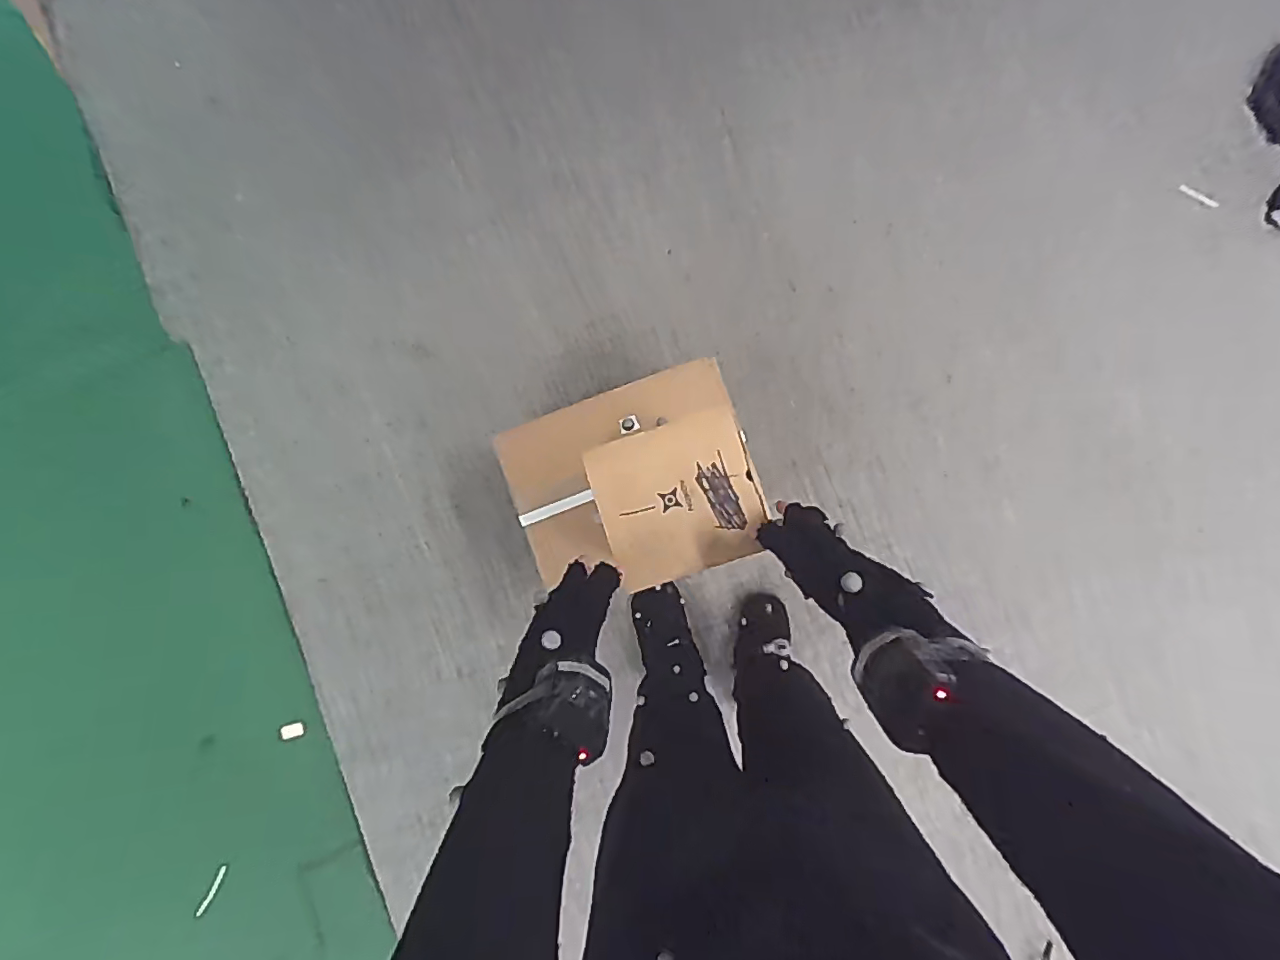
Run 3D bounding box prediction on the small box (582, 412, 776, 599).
[{"bbox_3d":[0.042,0.028,0.667,0.179,0.176,0.168,-19,88,0],"label":"small box"}]
